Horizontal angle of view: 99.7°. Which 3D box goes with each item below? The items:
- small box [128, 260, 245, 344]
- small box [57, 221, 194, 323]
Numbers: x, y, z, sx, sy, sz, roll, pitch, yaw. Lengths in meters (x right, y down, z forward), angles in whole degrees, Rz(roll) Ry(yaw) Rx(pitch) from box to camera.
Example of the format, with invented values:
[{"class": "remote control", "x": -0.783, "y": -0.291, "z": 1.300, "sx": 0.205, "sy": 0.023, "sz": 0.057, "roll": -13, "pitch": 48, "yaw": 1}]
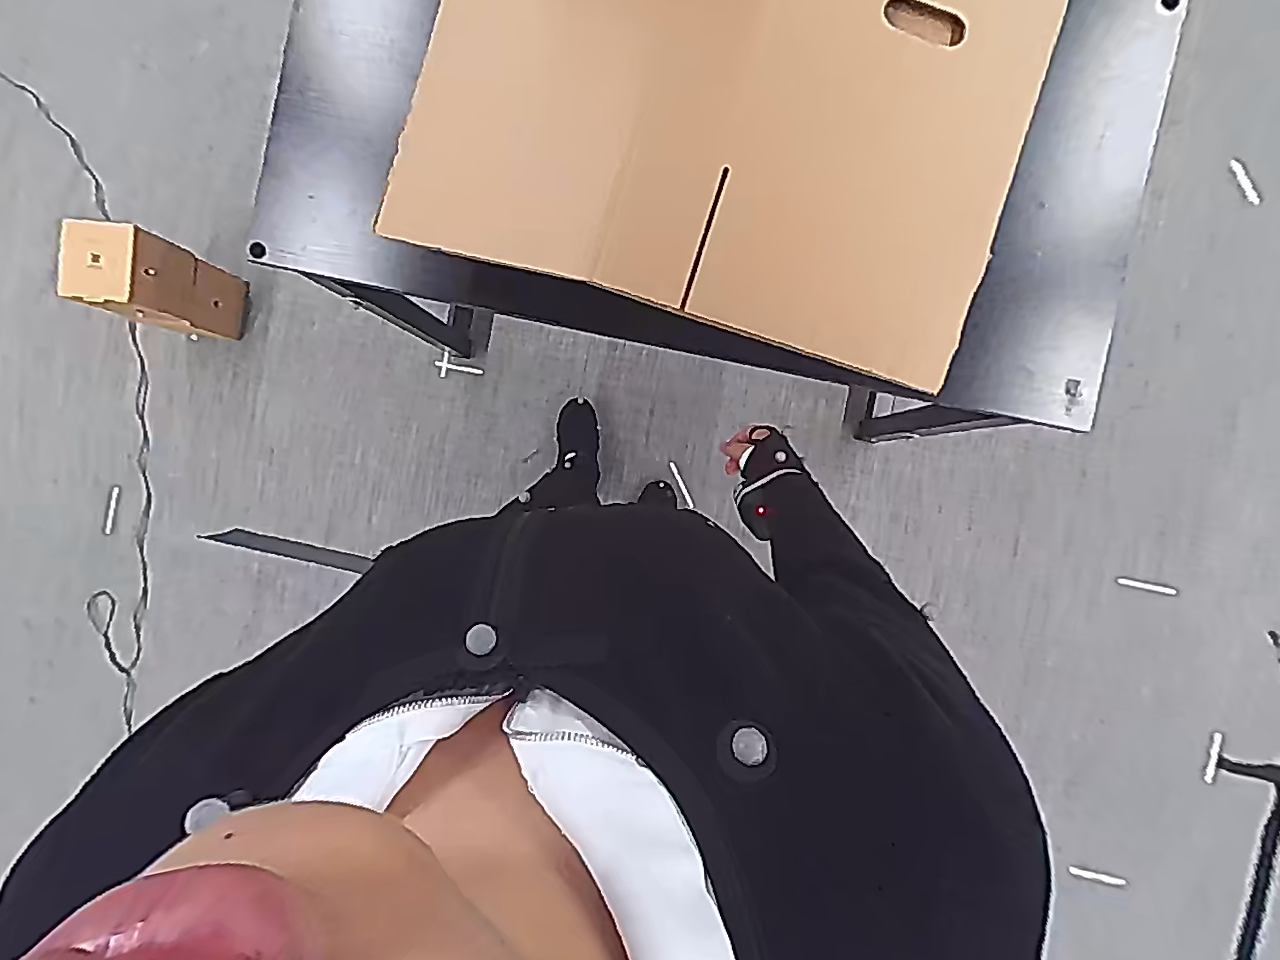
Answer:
[{"class": "small box", "x": -1.198, "y": -0.477, "z": 1.439, "sx": 0.168, "sy": 0.176, "sz": 0.179, "roll": 8, "pitch": 92, "yaw": 2}, {"class": "small box", "x": -1.204, "y": -0.481, "z": 1.277, "sx": 0.168, "sy": 0.176, "sz": 0.179, "roll": 5, "pitch": 90, "yaw": 1}]
